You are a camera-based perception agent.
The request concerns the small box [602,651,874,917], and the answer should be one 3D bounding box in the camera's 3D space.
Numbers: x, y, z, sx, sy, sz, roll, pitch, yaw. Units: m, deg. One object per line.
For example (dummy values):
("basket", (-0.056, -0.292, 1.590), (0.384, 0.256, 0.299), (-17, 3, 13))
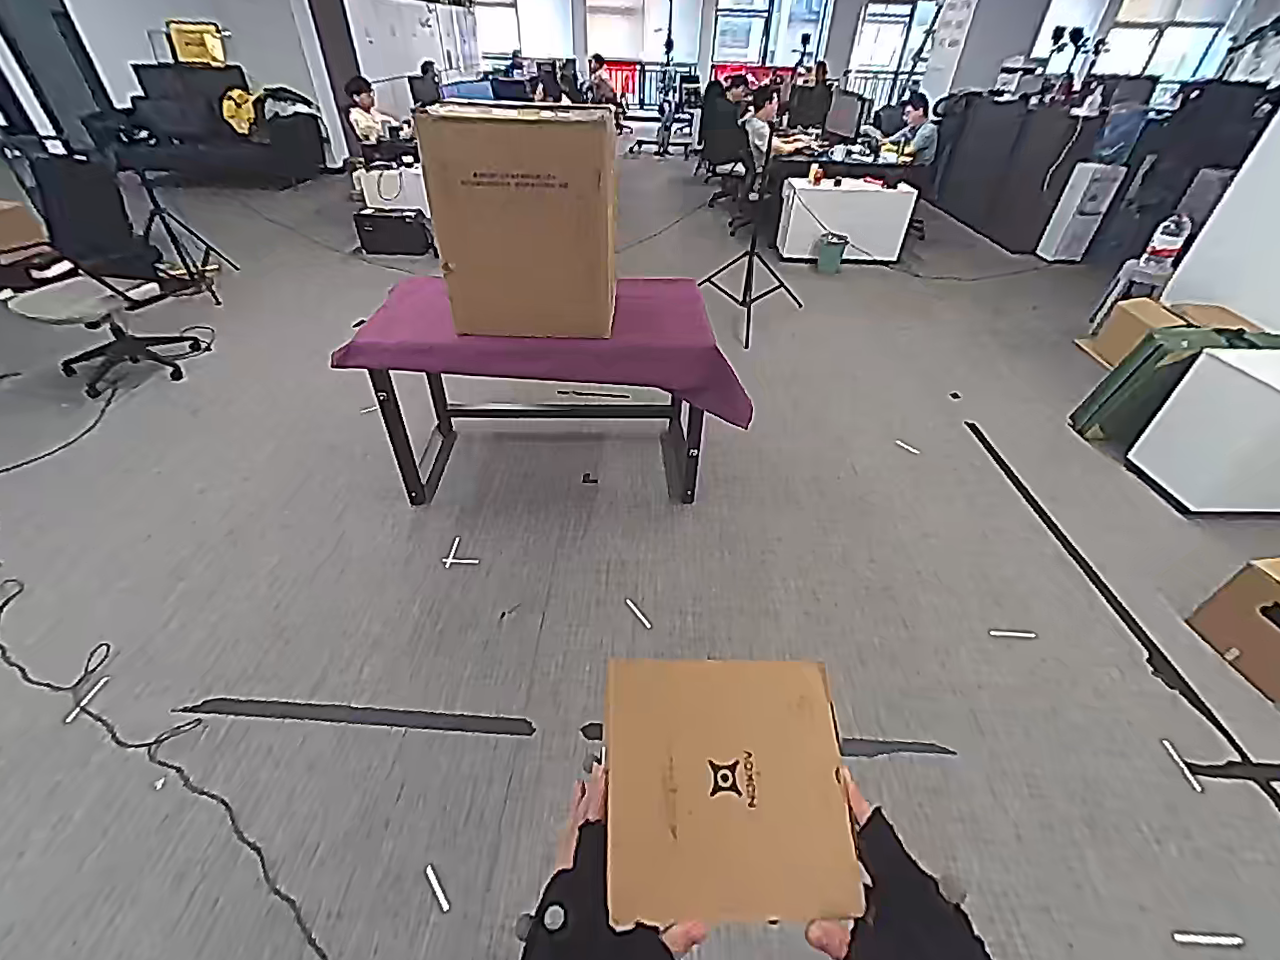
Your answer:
("small box", (0.060, 0.245, 0.454), (0.179, 0.176, 0.168), (1, 60, -5))
